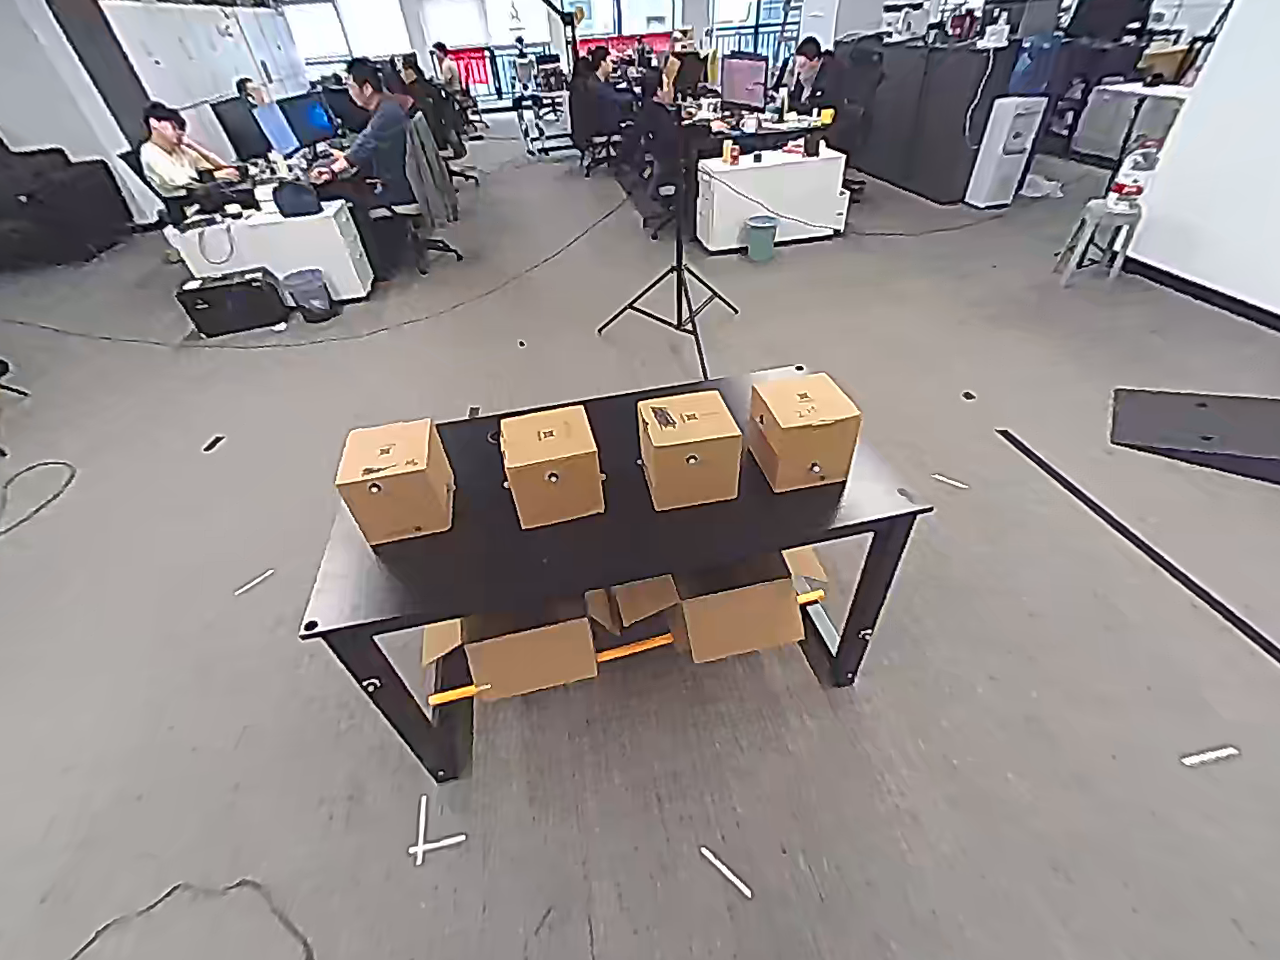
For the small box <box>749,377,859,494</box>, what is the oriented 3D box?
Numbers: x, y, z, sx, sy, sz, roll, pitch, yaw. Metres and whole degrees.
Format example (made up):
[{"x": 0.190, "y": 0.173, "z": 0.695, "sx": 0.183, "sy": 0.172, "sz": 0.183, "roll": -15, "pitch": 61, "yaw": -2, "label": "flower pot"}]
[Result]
[{"x": 0.337, "y": -0.096, "z": 1.153, "sx": 0.168, "sy": 0.176, "sz": 0.179, "roll": -10, "pitch": 41, "yaw": -4, "label": "small box"}]

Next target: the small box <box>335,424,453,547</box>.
[{"x": -0.490, "y": 0.010, "z": 1.109, "sx": 0.168, "sy": 0.176, "sz": 0.179, "roll": -11, "pitch": 41, "yaw": -8, "label": "small box"}]

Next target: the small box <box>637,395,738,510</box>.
[{"x": 0.097, "y": -0.054, "z": 1.128, "sx": 0.179, "sy": 0.176, "sz": 0.168, "roll": -9, "pitch": 40, "yaw": -5, "label": "small box"}]

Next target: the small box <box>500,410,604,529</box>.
[{"x": -0.181, "y": -0.019, "z": 1.117, "sx": 0.179, "sy": 0.176, "sz": 0.168, "roll": -12, "pitch": 42, "yaw": -9, "label": "small box"}]
